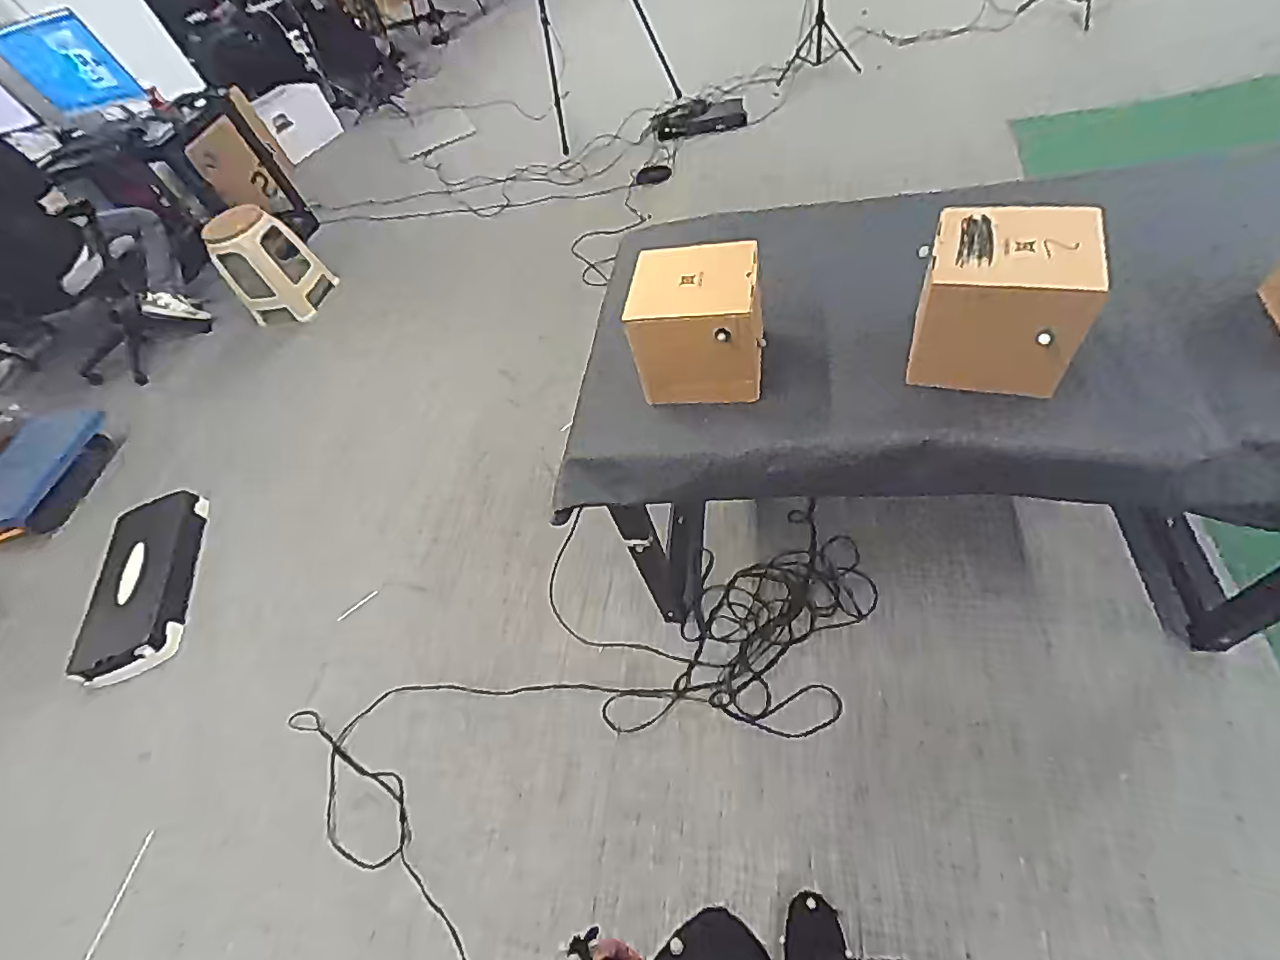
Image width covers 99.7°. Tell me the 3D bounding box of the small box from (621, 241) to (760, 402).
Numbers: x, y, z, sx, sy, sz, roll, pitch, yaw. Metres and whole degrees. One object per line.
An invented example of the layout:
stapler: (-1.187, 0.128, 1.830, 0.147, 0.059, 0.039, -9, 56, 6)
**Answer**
small box: (0.087, -0.232, 0.818, 0.179, 0.176, 0.168, 1, 55, 15)

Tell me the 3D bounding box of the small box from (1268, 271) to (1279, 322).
small box: (0.874, -0.227, 0.599, 0.179, 0.176, 0.168, 4, 57, 17)
